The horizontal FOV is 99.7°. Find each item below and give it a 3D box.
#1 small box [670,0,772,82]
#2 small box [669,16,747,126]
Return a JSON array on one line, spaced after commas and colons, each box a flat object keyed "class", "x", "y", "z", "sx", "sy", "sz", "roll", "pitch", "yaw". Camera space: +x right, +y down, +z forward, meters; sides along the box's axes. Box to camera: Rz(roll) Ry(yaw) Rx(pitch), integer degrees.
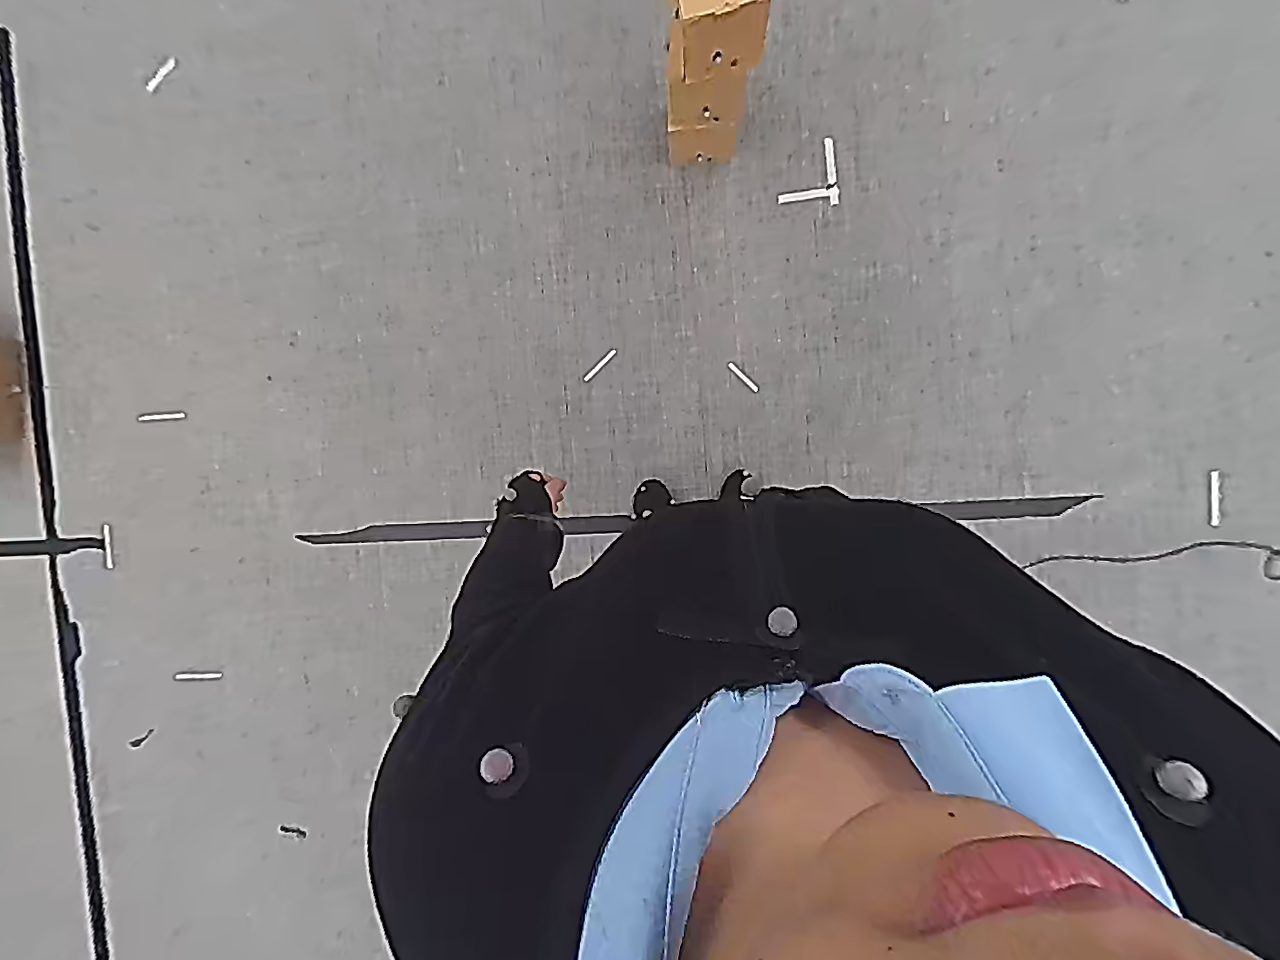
[{"class": "small box", "x": 0.149, "y": -0.933, "z": 1.052, "sx": 0.168, "sy": 0.176, "sz": 0.179, "roll": -11, "pitch": 91, "yaw": 6}, {"class": "small box", "x": 0.152, "y": -0.937, "z": 1.215, "sx": 0.168, "sy": 0.176, "sz": 0.179, "roll": 0, "pitch": 92, "yaw": 7}]
